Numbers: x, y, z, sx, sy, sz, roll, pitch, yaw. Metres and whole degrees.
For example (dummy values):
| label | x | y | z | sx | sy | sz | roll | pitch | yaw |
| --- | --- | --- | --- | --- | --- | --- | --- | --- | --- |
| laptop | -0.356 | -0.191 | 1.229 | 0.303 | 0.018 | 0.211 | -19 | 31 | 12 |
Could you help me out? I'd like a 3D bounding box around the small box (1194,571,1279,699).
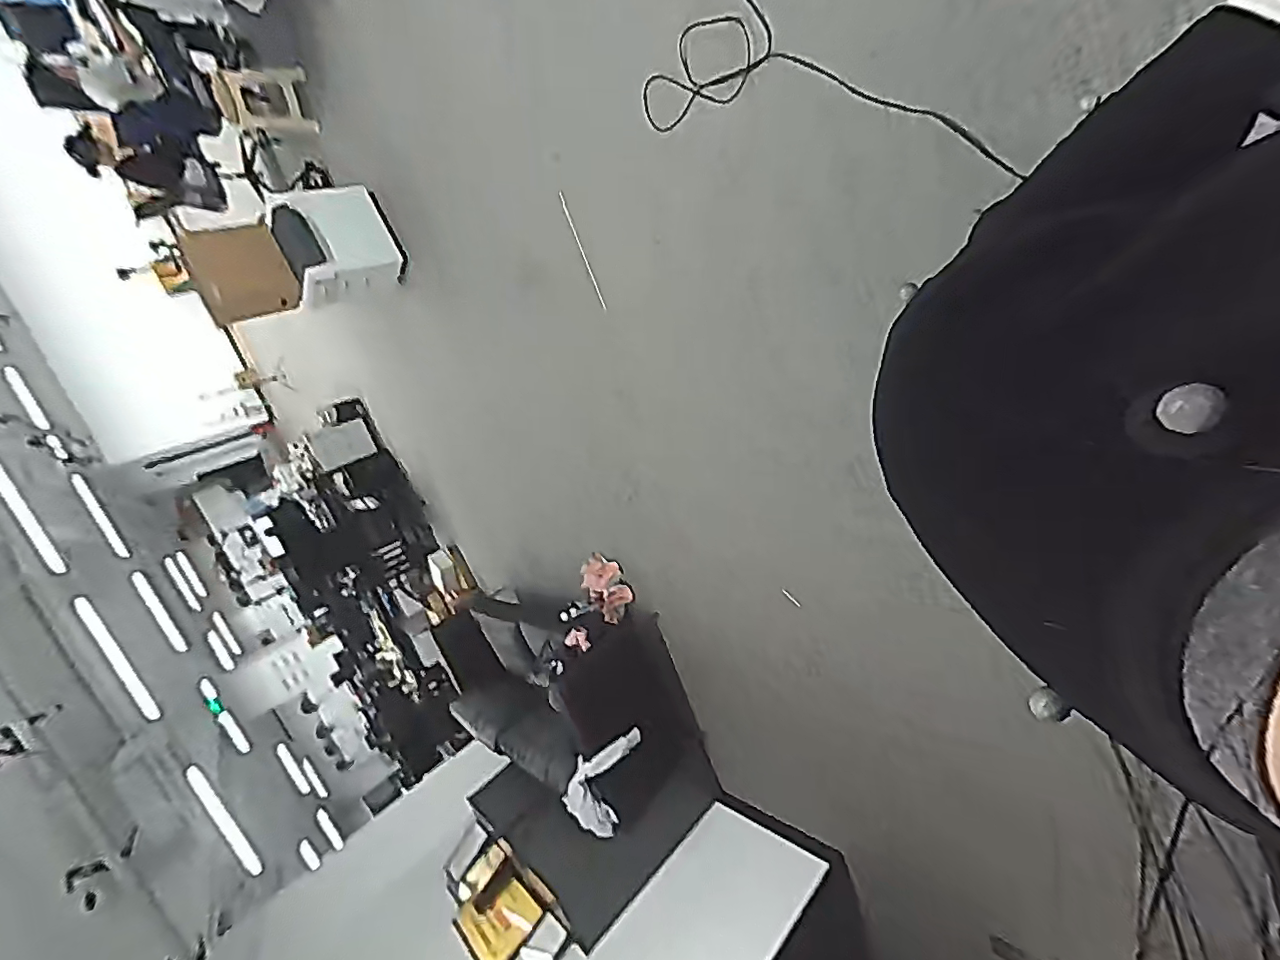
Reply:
| label | x | y | z | sx | sy | sz | roll | pitch | yaw |
| --- | --- | --- | --- | --- | --- | --- | --- | --- | --- |
| small box | 1.221 | 0.303 | 1.062 | 0.168 | 0.176 | 0.179 | -3 | 110 | 51 |
